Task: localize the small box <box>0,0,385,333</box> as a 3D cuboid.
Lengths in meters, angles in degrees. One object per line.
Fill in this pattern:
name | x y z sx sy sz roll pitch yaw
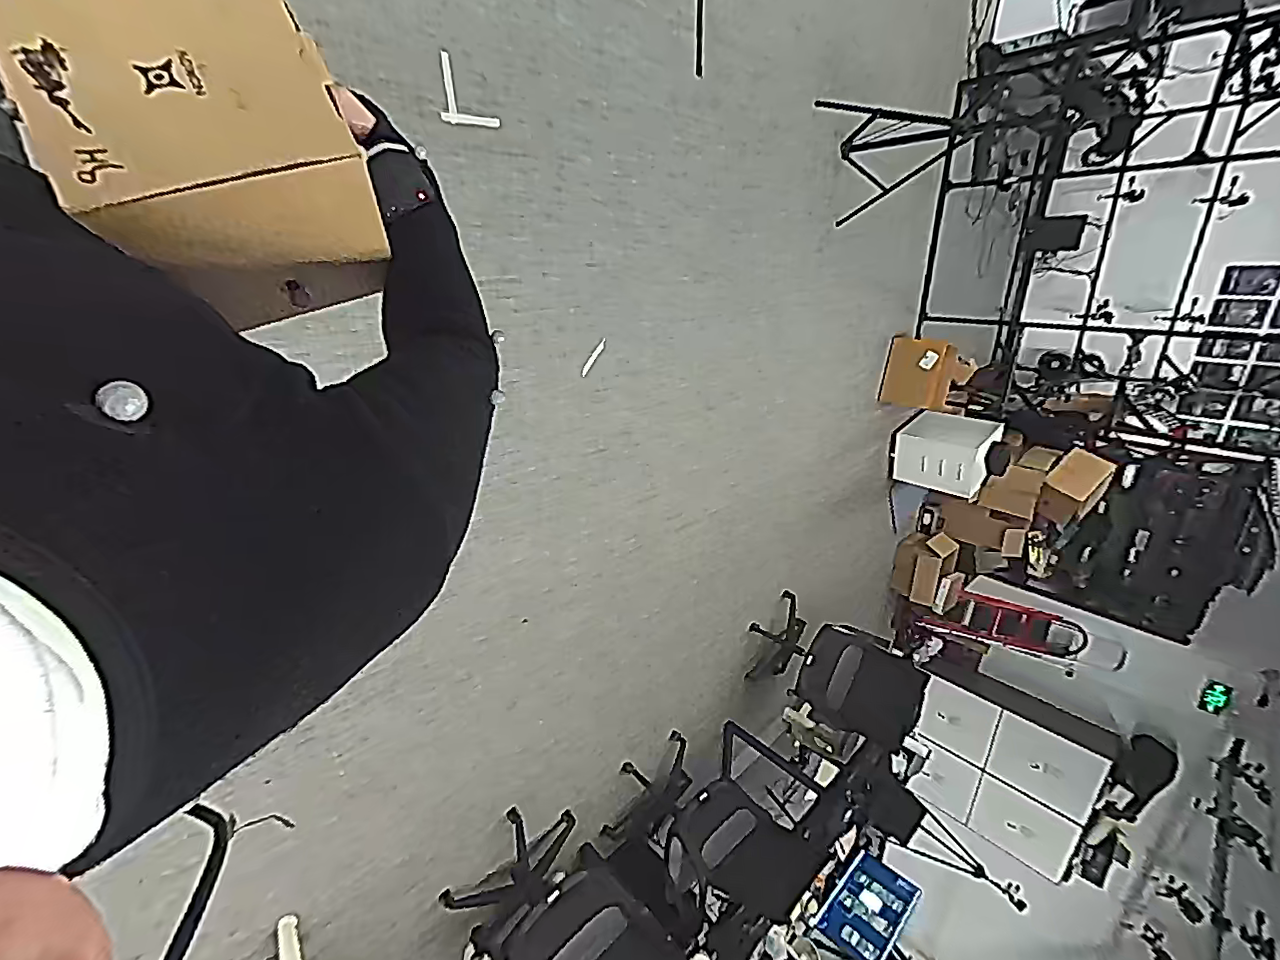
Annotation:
small box | -0.332 -0.251 0.447 0.179 0.176 0.168 -26 84 -19
